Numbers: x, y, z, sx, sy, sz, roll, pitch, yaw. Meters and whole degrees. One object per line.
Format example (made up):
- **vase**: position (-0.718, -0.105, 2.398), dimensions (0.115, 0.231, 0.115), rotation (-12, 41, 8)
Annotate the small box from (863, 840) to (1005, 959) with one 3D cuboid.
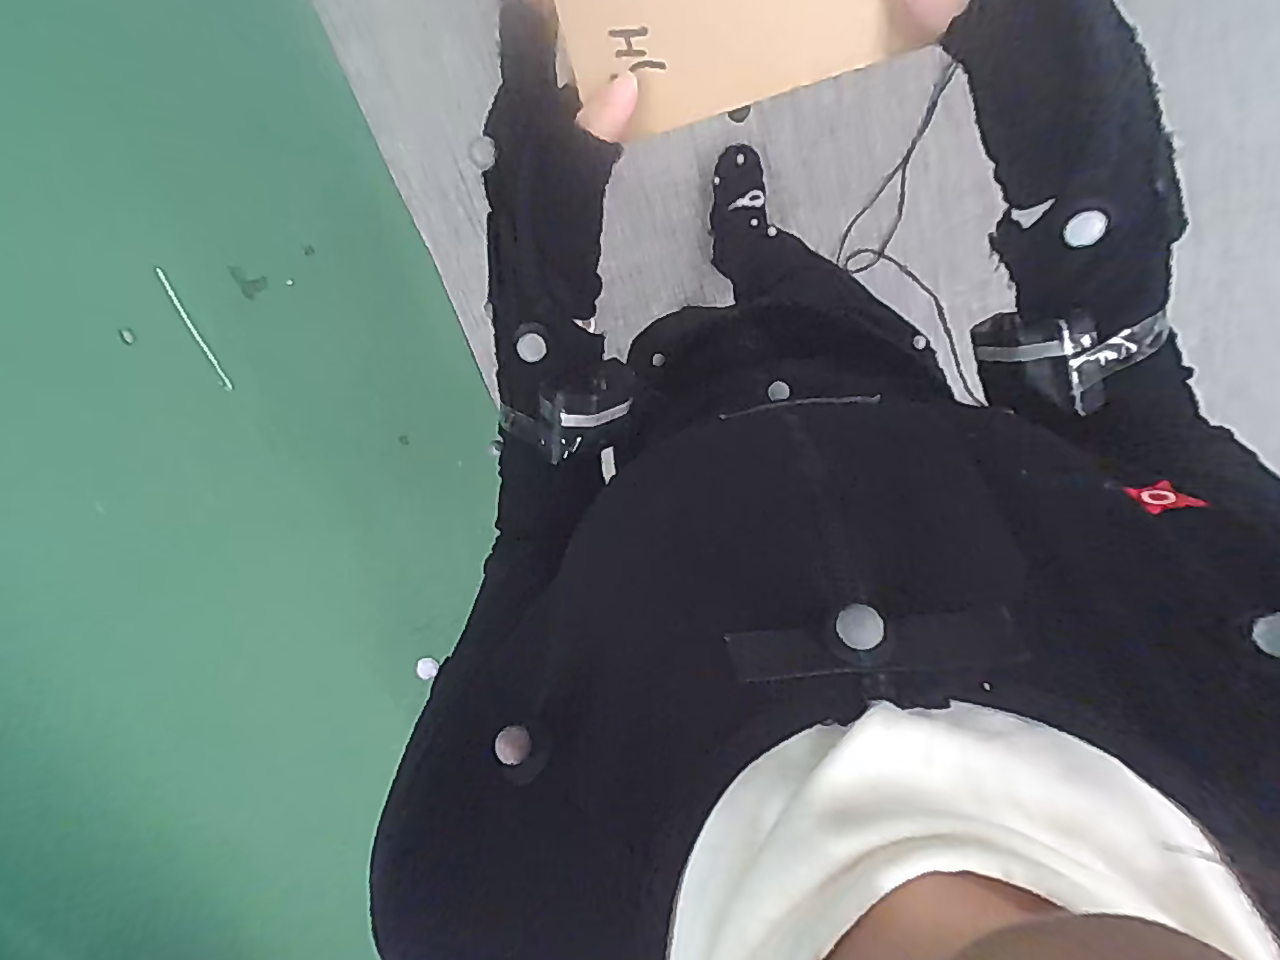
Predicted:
- **small box**: position (0.503, 0.765, 0.936), dimensions (0.179, 0.176, 0.168), rotation (-19, 112, 12)
